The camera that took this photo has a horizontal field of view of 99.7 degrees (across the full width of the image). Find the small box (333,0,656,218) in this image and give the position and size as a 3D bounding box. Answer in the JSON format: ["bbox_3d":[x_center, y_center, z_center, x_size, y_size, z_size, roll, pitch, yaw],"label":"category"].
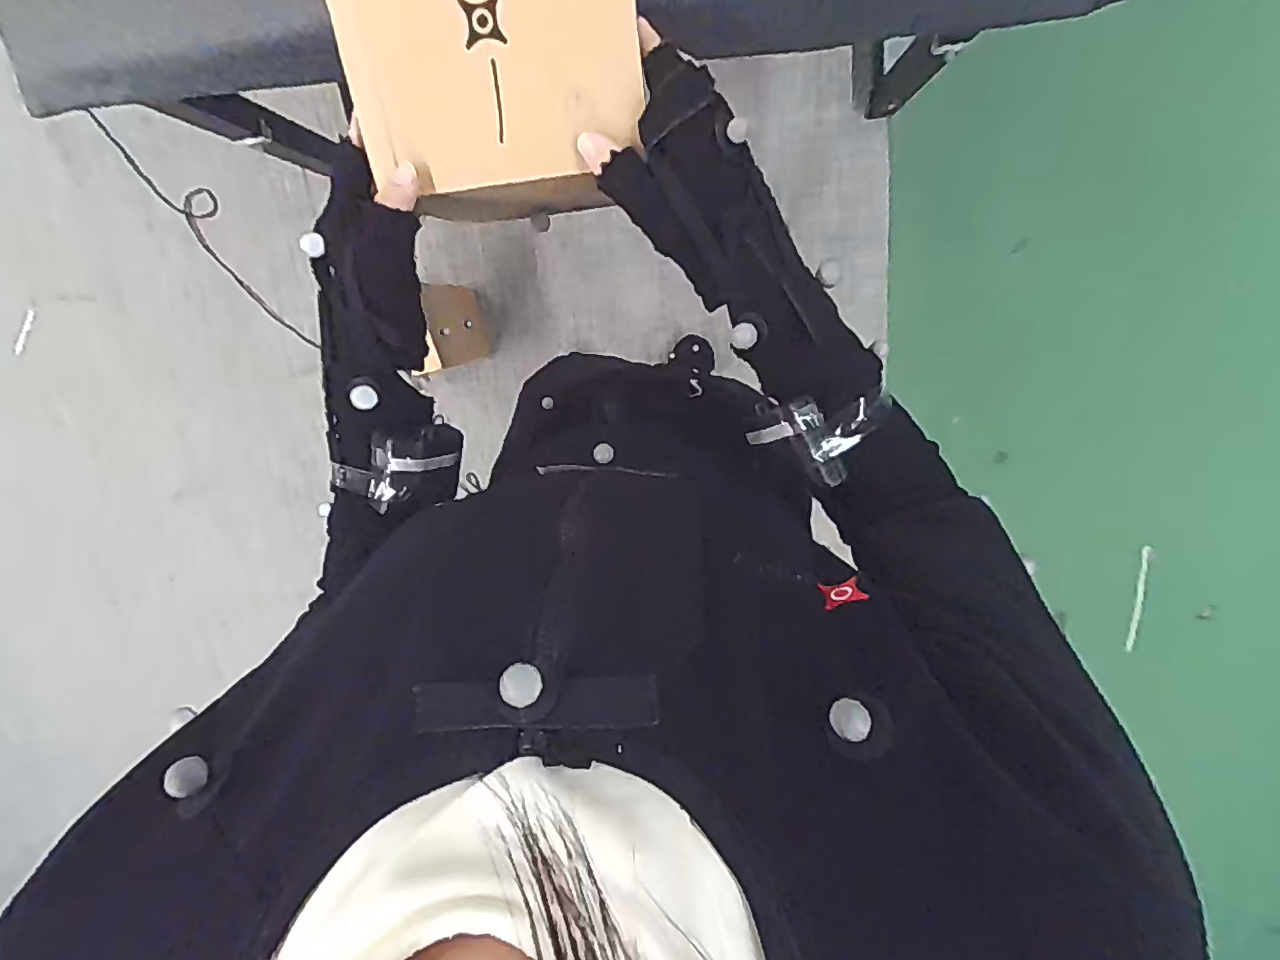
[{"bbox_3d":[-0.081,-0.287,0.360,0.168,0.176,0.179,-6,111,3],"label":"small box"}]

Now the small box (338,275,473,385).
[{"bbox_3d":[-0.480,-0.316,1.137,0.168,0.176,0.179,-16,105,10],"label":"small box"}]
